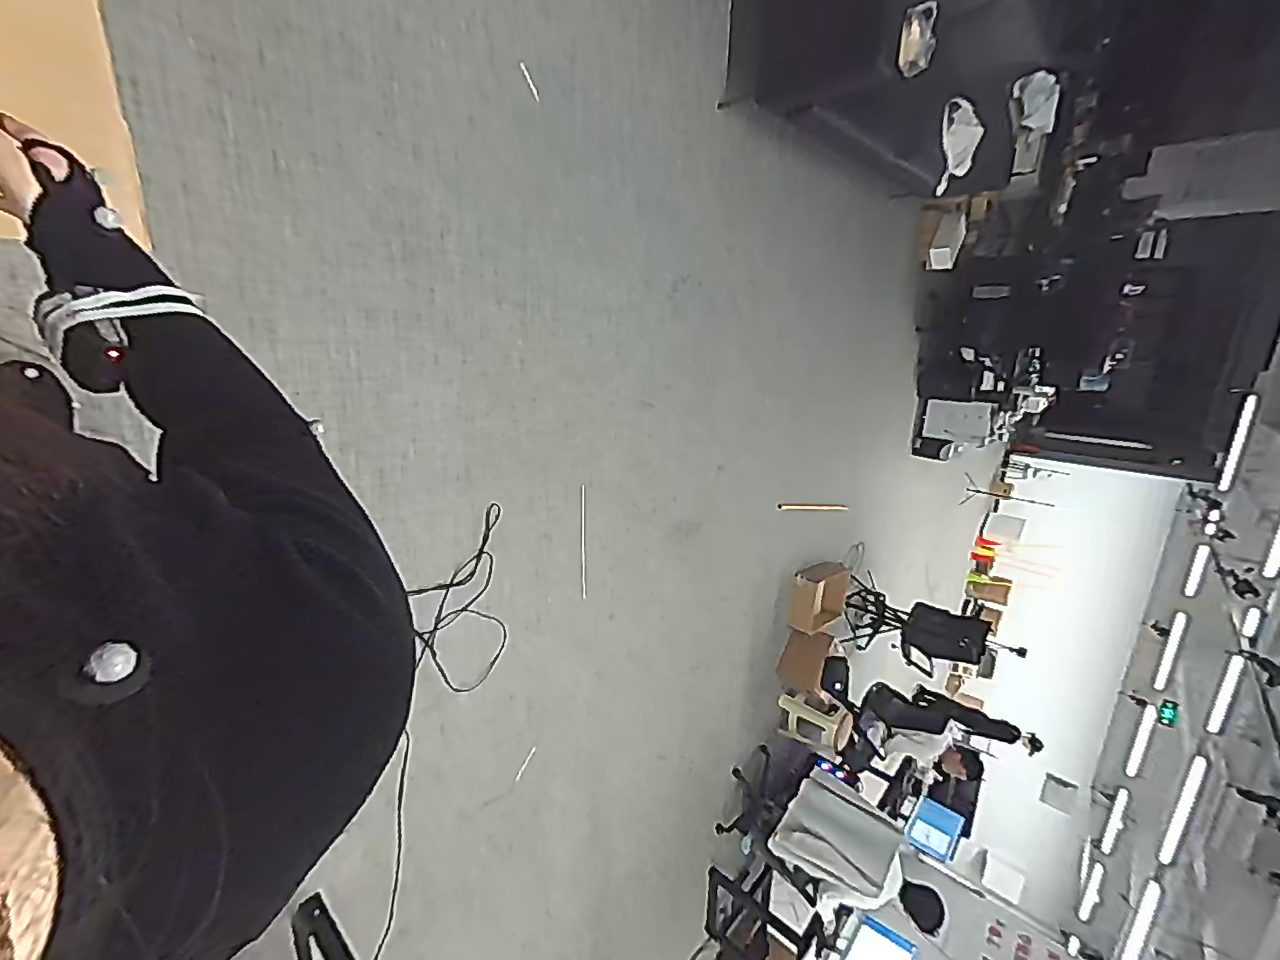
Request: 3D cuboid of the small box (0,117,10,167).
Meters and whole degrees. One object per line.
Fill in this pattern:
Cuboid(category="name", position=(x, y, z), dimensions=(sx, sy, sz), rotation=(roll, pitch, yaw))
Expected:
Cuboid(category="small box", position=(-0.625, -0.355, 0.407), dimensions=(0.168, 0.176, 0.179), rotation=(-17, 114, -43))
